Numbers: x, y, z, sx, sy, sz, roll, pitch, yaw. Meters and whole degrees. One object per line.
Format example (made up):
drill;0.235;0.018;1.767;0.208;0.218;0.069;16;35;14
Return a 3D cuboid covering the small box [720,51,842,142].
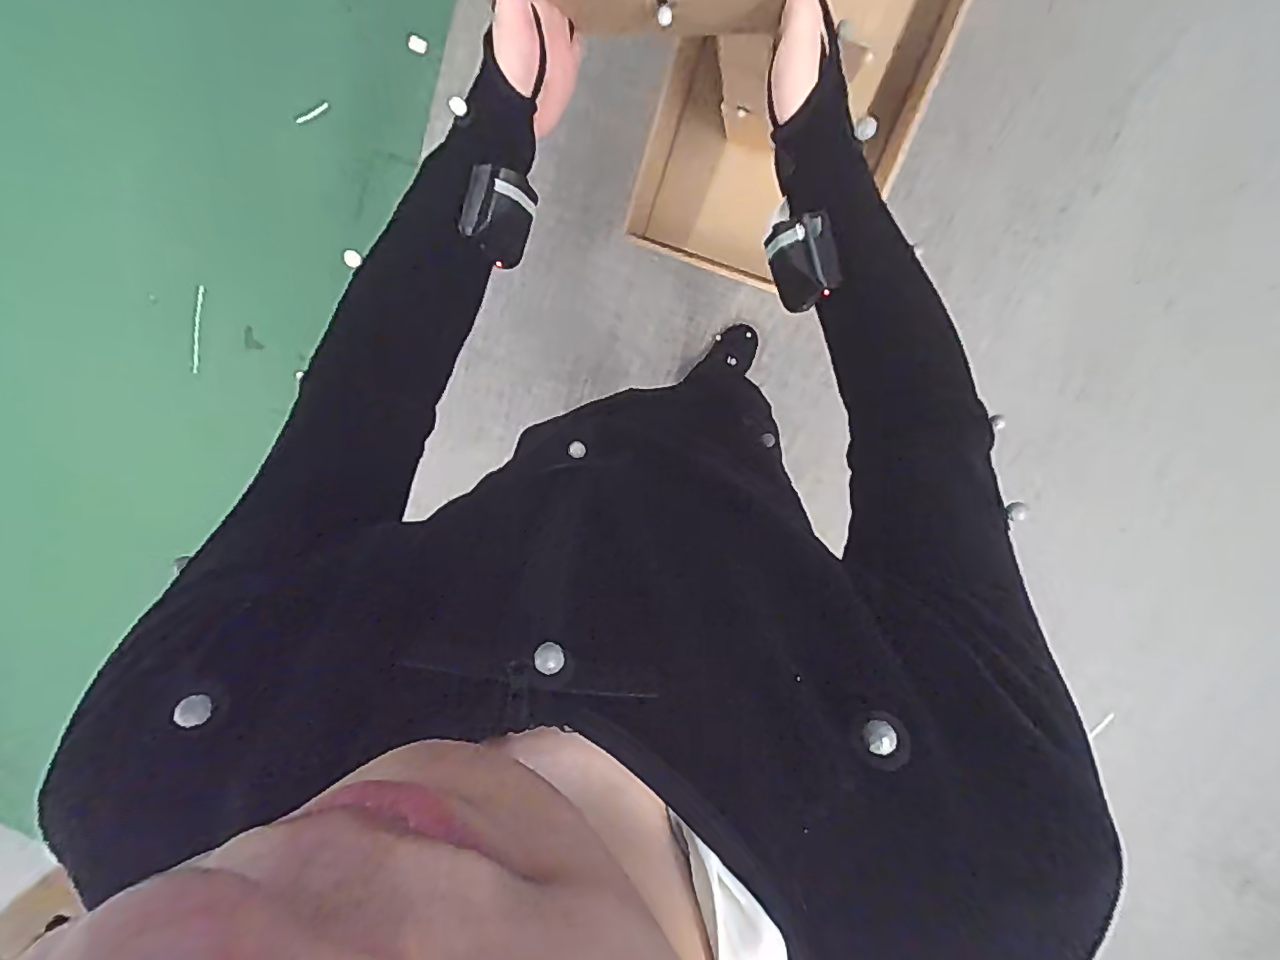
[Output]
small box;0.221;-0.595;0.731;0.168;0.176;0.179;23;109;2

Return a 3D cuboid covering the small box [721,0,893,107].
small box;0.191;-0.545;0.577;0.168;0.176;0.179;22;110;4

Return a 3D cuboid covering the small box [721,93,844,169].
small box;0.245;-0.639;0.888;0.179;0.176;0.168;21;109;3
